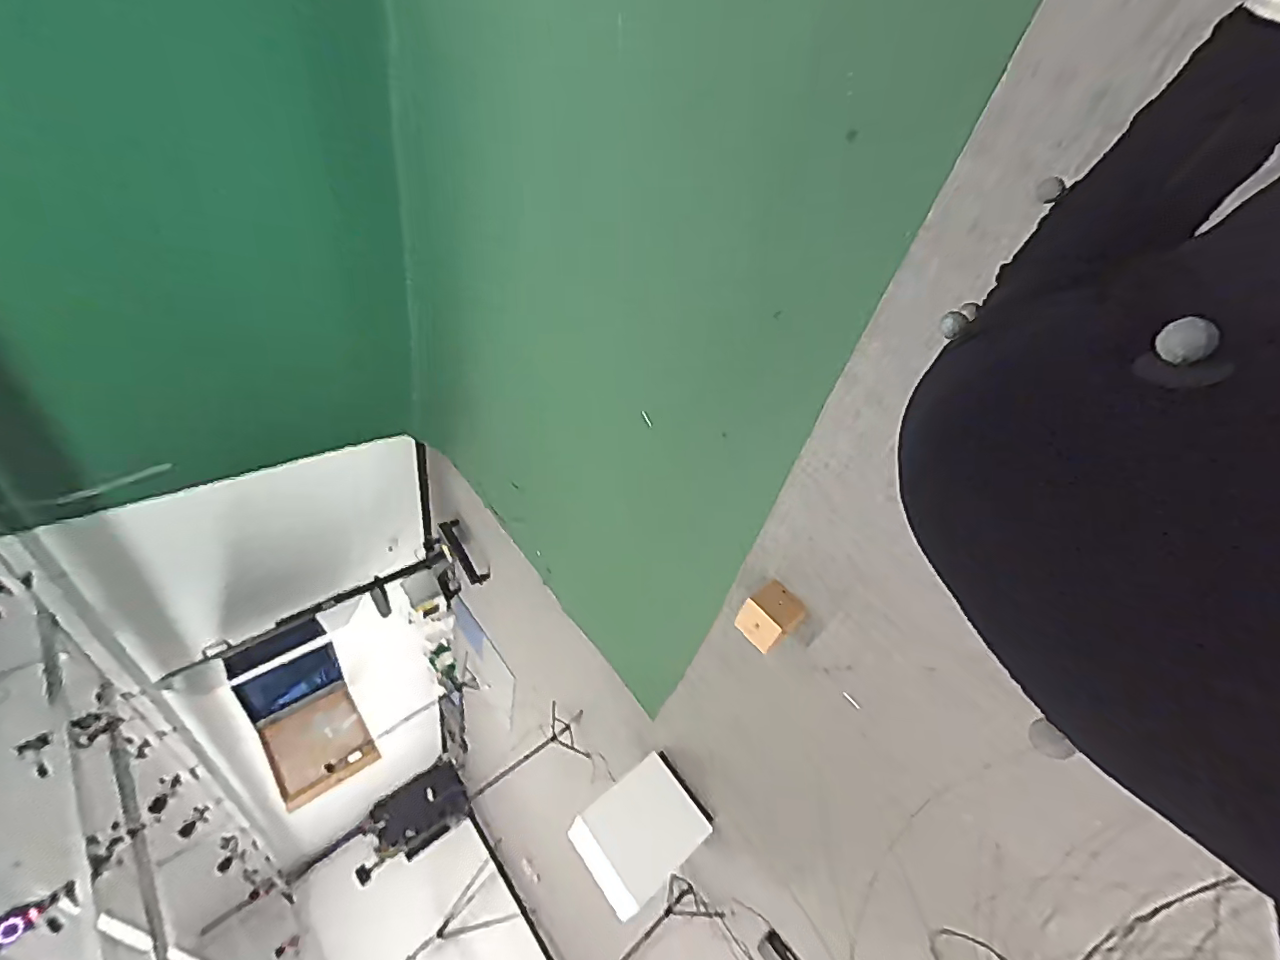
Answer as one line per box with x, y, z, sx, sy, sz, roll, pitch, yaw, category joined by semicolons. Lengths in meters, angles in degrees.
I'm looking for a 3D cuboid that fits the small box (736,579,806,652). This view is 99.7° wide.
0.498;0.506;2.041;0.168;0.176;0.179;45;138;29;small box
